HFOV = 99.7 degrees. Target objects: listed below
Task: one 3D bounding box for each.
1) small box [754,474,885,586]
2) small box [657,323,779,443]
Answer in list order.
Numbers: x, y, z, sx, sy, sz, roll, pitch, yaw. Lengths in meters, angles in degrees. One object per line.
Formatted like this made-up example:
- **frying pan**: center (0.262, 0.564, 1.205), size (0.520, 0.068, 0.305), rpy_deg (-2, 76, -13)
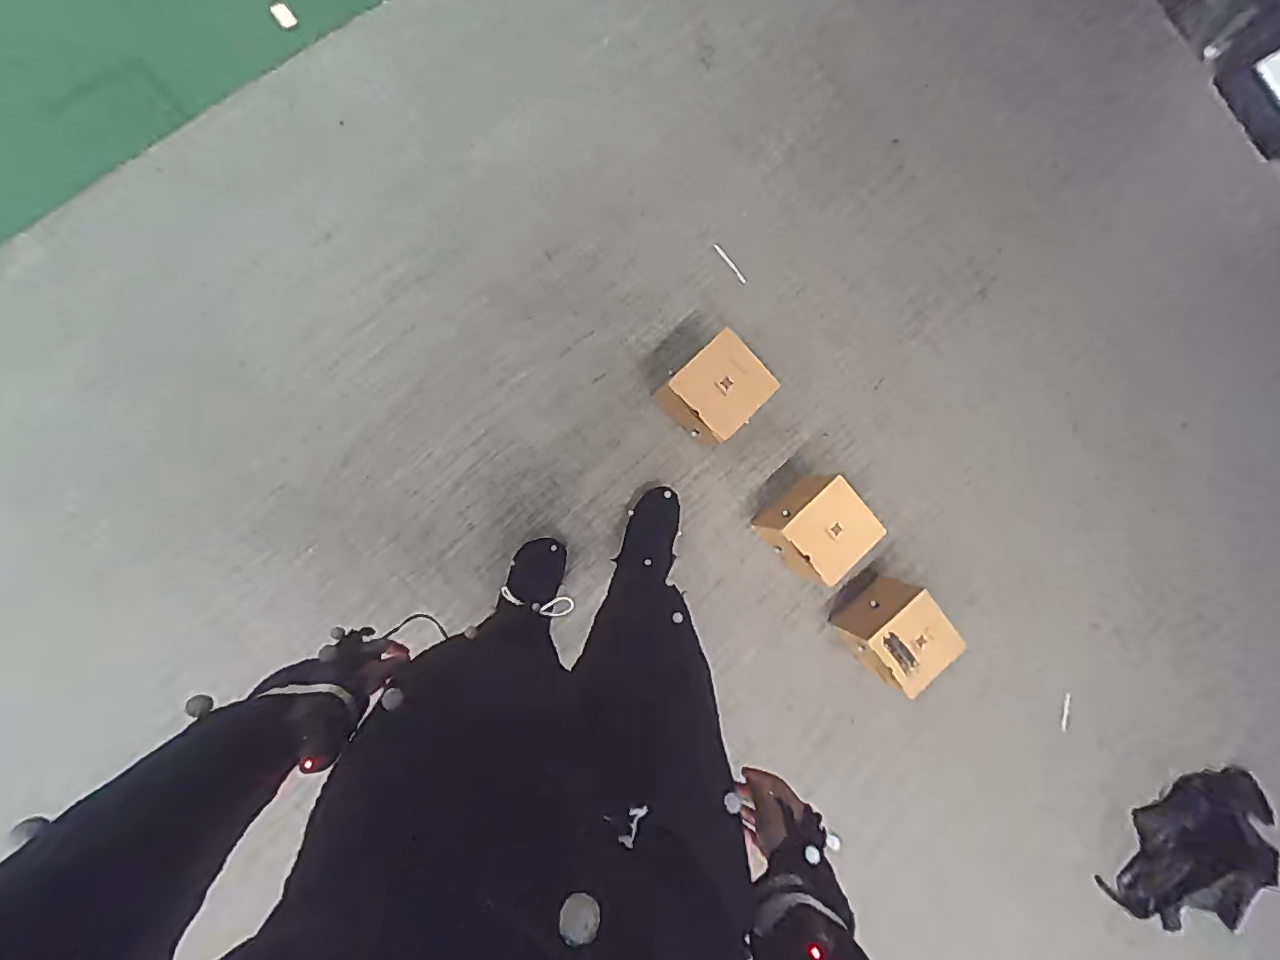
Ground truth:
- **small box**: center (0.382, 0.101, 1.180), size (0.179, 0.176, 0.168), rpy_deg (-42, 97, -7)
- **small box**: center (0.152, -0.194, 1.143), size (0.179, 0.176, 0.168), rpy_deg (-45, 97, -8)
